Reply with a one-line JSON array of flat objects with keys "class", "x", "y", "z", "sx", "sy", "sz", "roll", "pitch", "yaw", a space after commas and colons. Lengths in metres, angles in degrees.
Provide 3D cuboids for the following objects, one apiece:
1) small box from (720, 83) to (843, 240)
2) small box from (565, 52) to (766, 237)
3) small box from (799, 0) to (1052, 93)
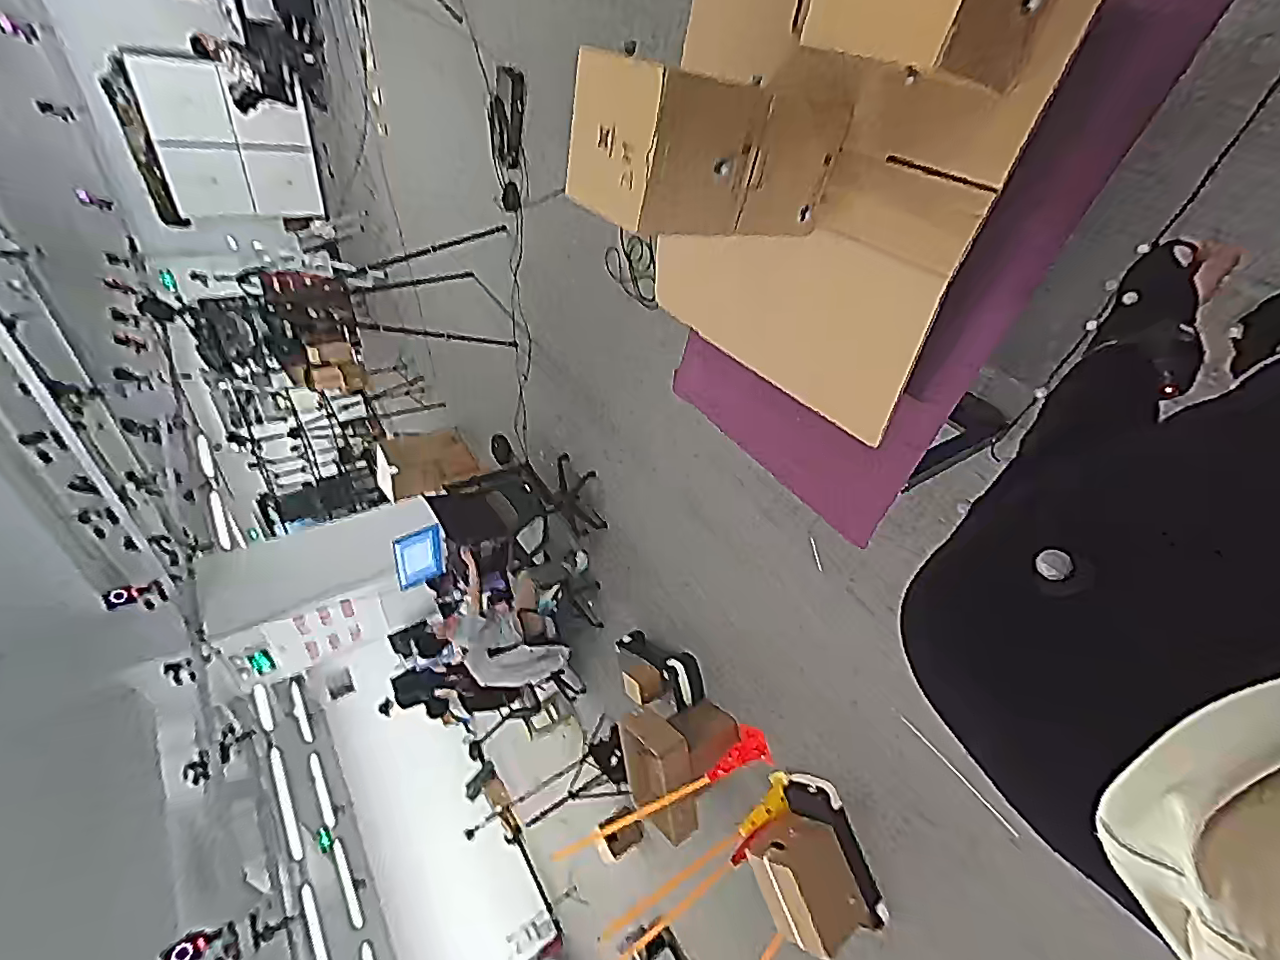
[{"class": "small box", "x": 0.158, "y": -0.462, "z": 0.785, "sx": 0.179, "sy": 0.176, "sz": 0.168, "roll": 45, "pitch": 137, "yaw": 35}, {"class": "small box", "x": 0.026, "y": -0.422, "z": 0.695, "sx": 0.179, "sy": 0.176, "sz": 0.168, "roll": 44, "pitch": 137, "yaw": 34}, {"class": "small box", "x": 0.305, "y": -0.517, "z": 0.554, "sx": 0.179, "sy": 0.176, "sz": 0.168, "roll": 44, "pitch": 137, "yaw": 34}]
